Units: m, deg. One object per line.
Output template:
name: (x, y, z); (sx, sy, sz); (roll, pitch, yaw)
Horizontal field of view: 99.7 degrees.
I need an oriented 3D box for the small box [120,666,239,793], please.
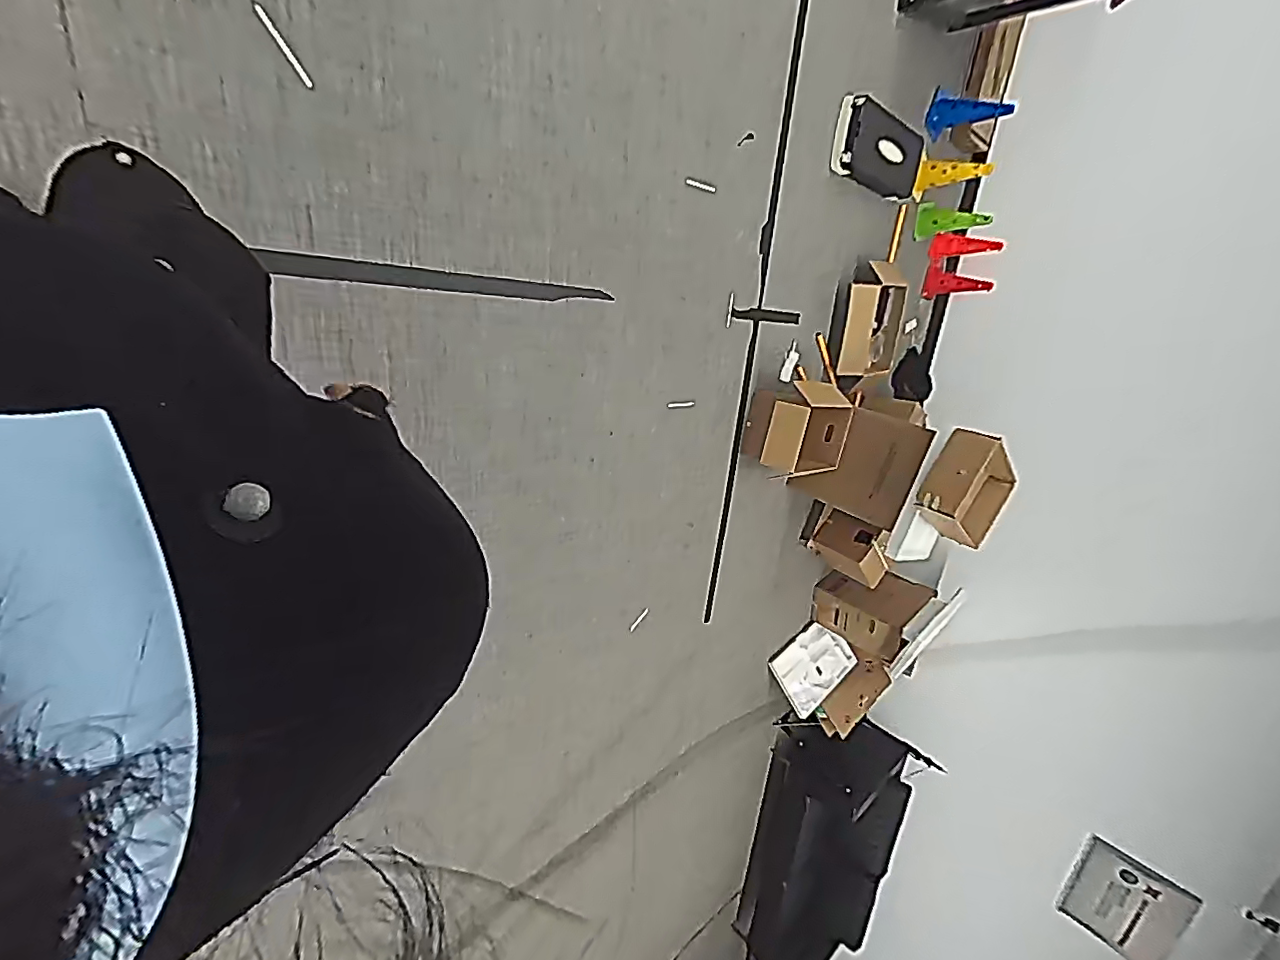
small box: (-1.092, 0.584, 1.285); (0.168, 0.176, 0.179); (-25, 124, -36)
